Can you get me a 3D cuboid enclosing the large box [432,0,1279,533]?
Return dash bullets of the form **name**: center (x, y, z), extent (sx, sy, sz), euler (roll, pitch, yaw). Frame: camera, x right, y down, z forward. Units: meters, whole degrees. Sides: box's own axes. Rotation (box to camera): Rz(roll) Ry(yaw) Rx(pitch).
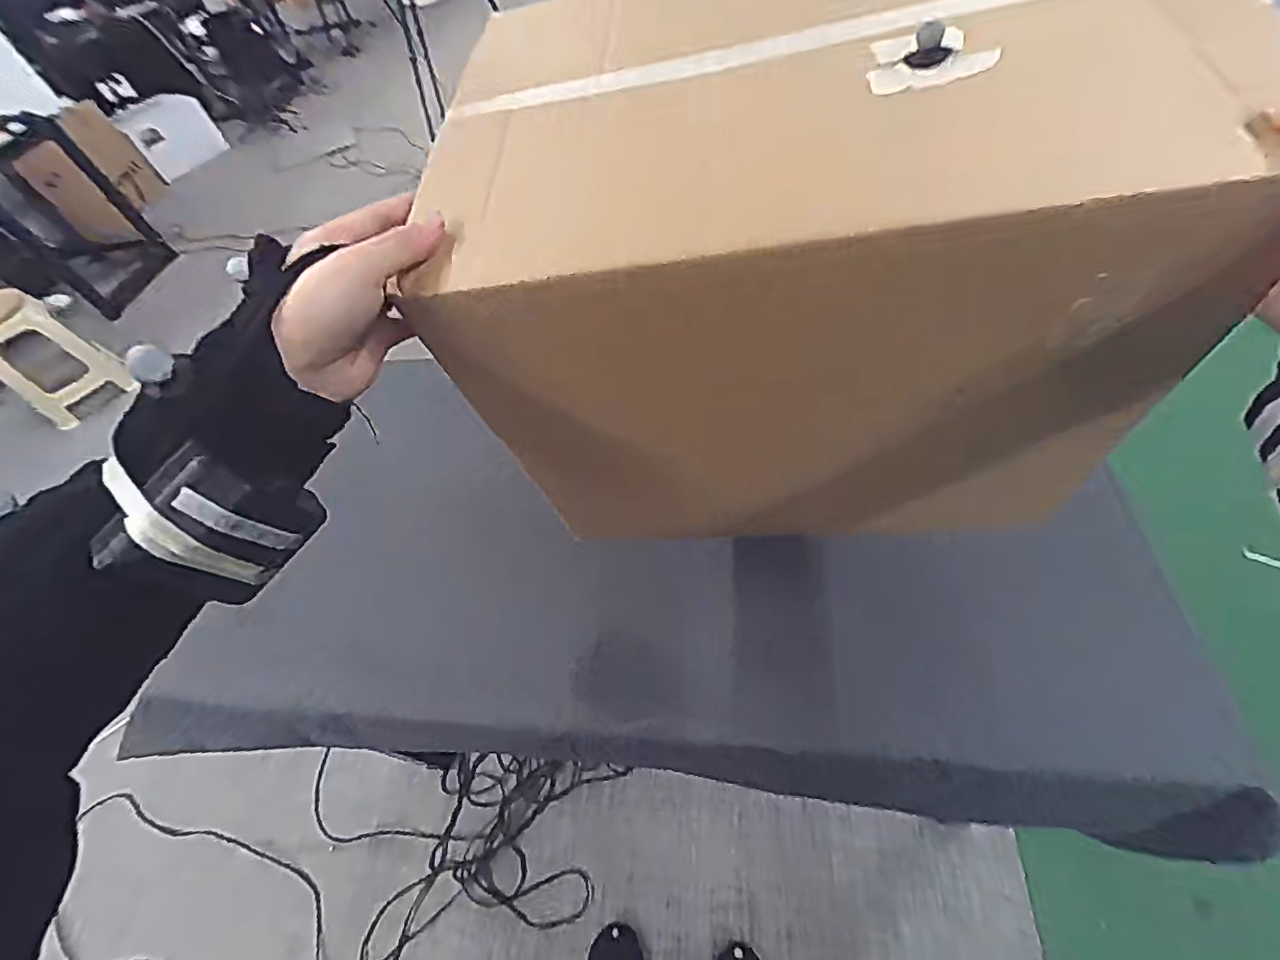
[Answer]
- **large box**: center (0.119, -0.161, 0.437), extent (0.408, 0.320, 0.320), euler (-3, 61, 10)
